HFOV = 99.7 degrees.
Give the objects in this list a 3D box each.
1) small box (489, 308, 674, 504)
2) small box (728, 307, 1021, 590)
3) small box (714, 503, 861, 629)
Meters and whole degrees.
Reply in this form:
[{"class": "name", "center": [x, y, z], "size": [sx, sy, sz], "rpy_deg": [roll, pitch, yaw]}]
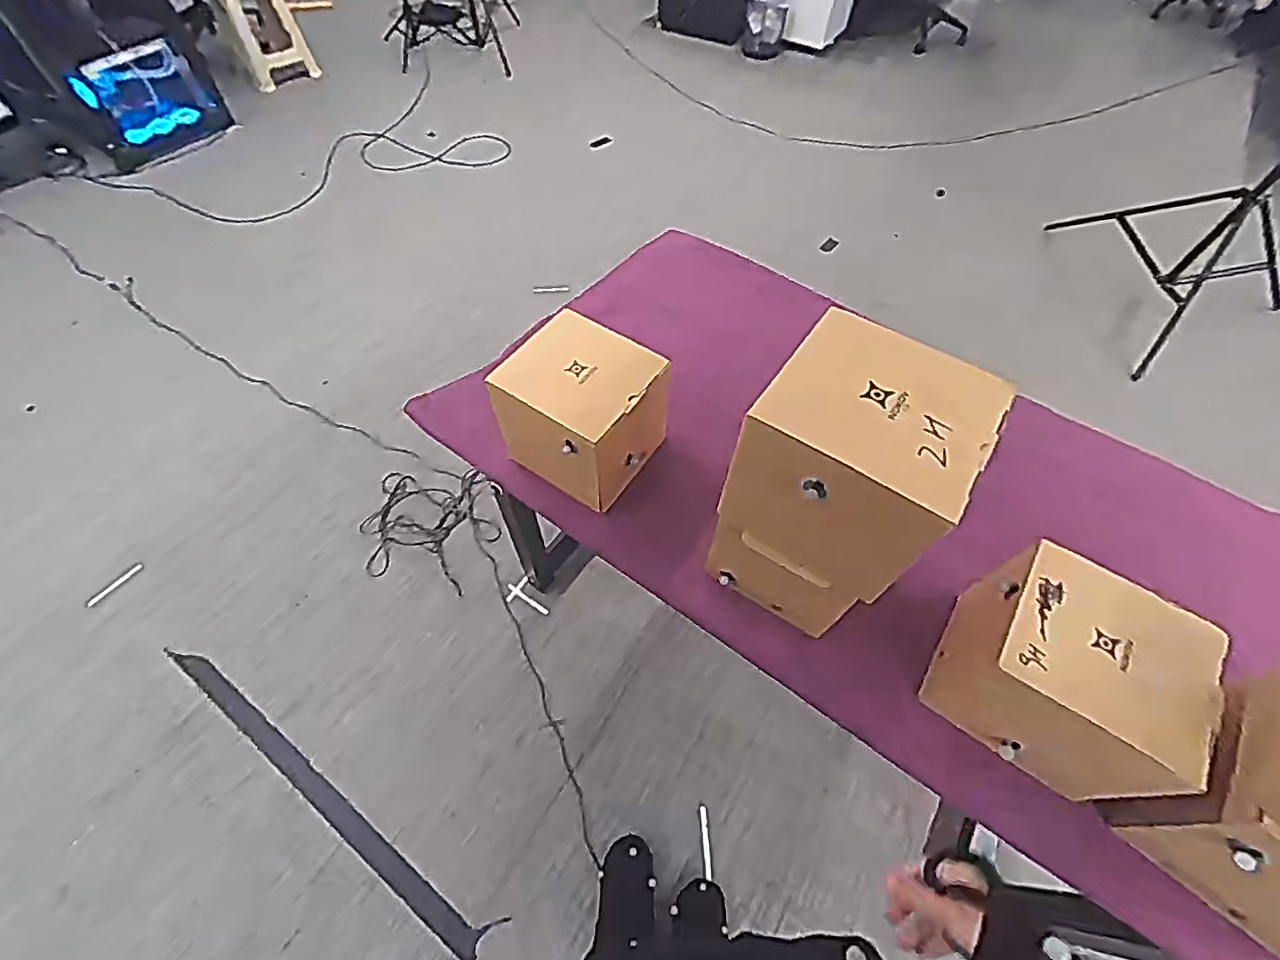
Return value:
[{"class": "small box", "center": [-0.075, -0.096, 0.745], "size": [0.179, 0.176, 0.168], "rpy_deg": [30, 62, 16]}, {"class": "small box", "center": [0.203, -0.023, 0.513], "size": [0.179, 0.176, 0.168], "rpy_deg": [32, 63, 16]}, {"class": "small box", "center": [0.202, 0.053, 0.660], "size": [0.168, 0.176, 0.179], "rpy_deg": [30, 61, 15]}]
